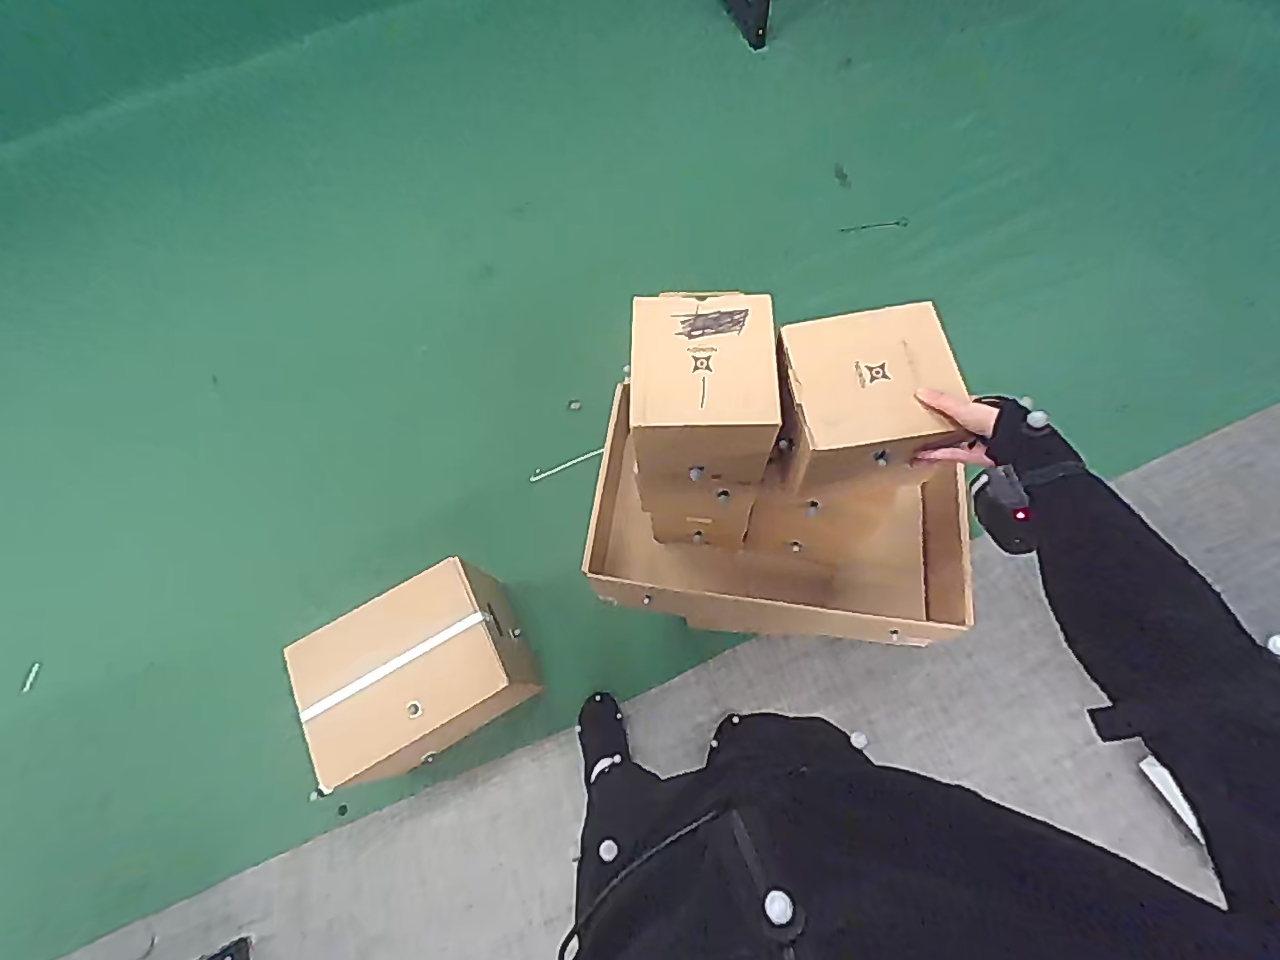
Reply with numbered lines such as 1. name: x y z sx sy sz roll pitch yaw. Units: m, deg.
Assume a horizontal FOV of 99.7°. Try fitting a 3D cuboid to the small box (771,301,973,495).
1. small box: 0.264 -0.090 0.670 0.179 0.176 0.168 -7 68 4
